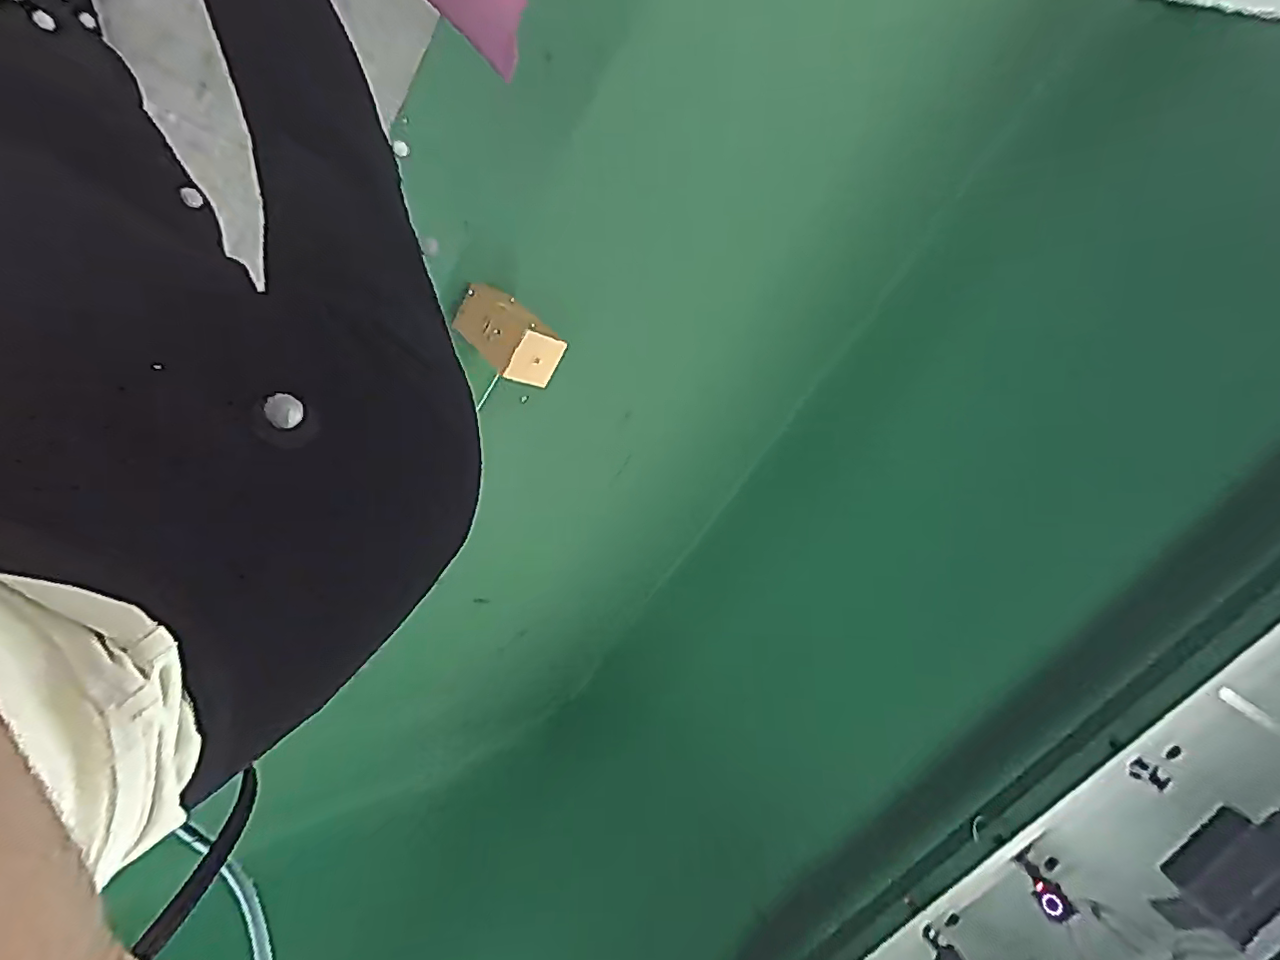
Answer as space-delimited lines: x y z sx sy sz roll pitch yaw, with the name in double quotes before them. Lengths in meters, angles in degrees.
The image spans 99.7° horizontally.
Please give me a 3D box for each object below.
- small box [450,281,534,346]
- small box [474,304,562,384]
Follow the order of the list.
"small box" -0.492 -0.532 1.780 0.179 0.176 0.168 5 123 -55
"small box" -0.388 -0.430 1.708 0.179 0.176 0.168 5 124 -53
